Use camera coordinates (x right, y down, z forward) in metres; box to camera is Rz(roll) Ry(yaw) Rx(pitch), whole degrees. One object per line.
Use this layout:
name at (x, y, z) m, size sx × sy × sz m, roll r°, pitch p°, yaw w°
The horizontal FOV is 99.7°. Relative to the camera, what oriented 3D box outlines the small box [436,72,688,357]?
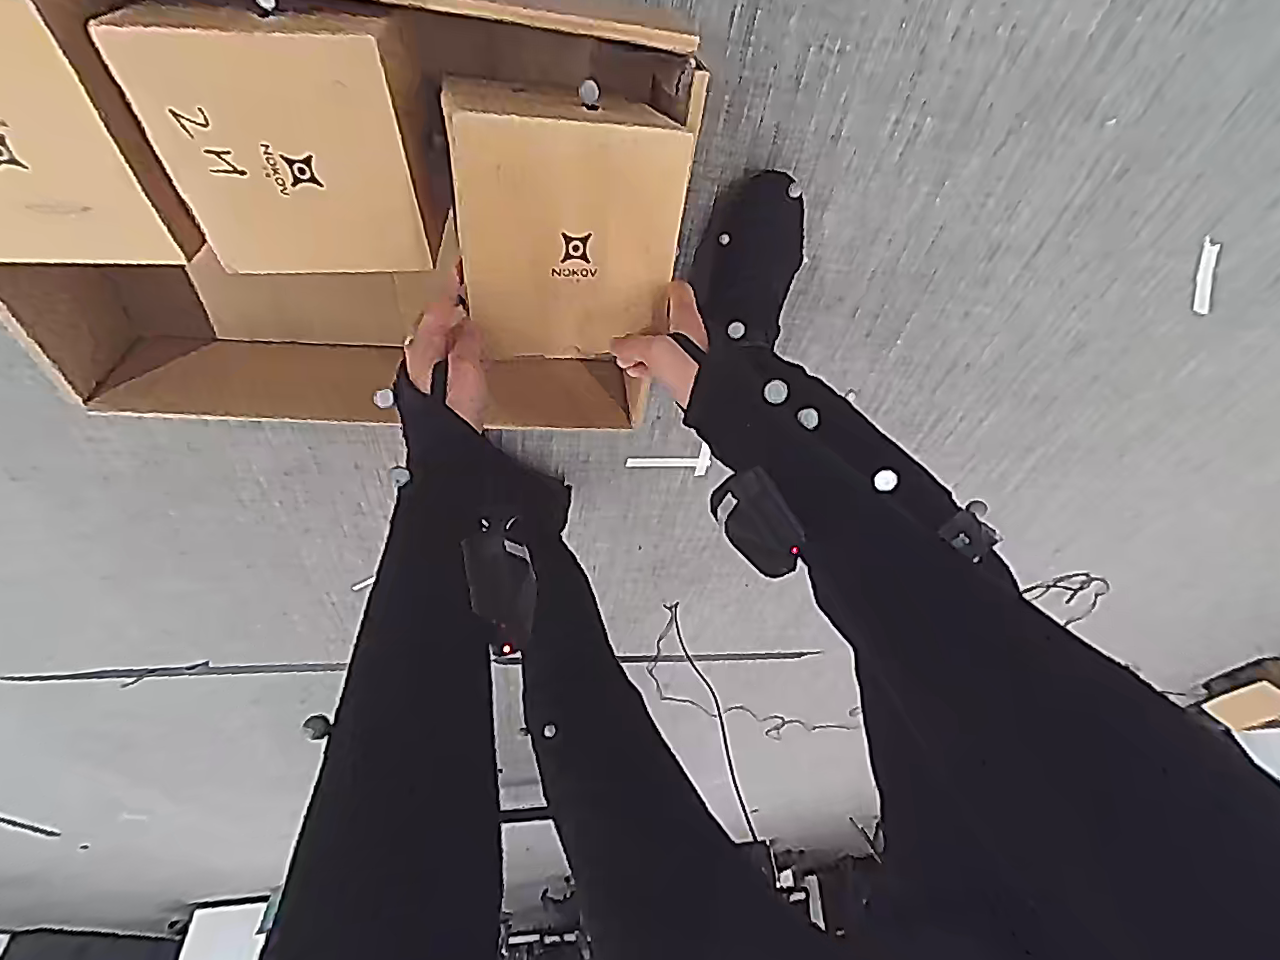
small box at (-0.077, -0.225, 0.459) m, size 0.168 × 0.176 × 0.179 m, roll -6°, pitch 134°, yaw -17°
